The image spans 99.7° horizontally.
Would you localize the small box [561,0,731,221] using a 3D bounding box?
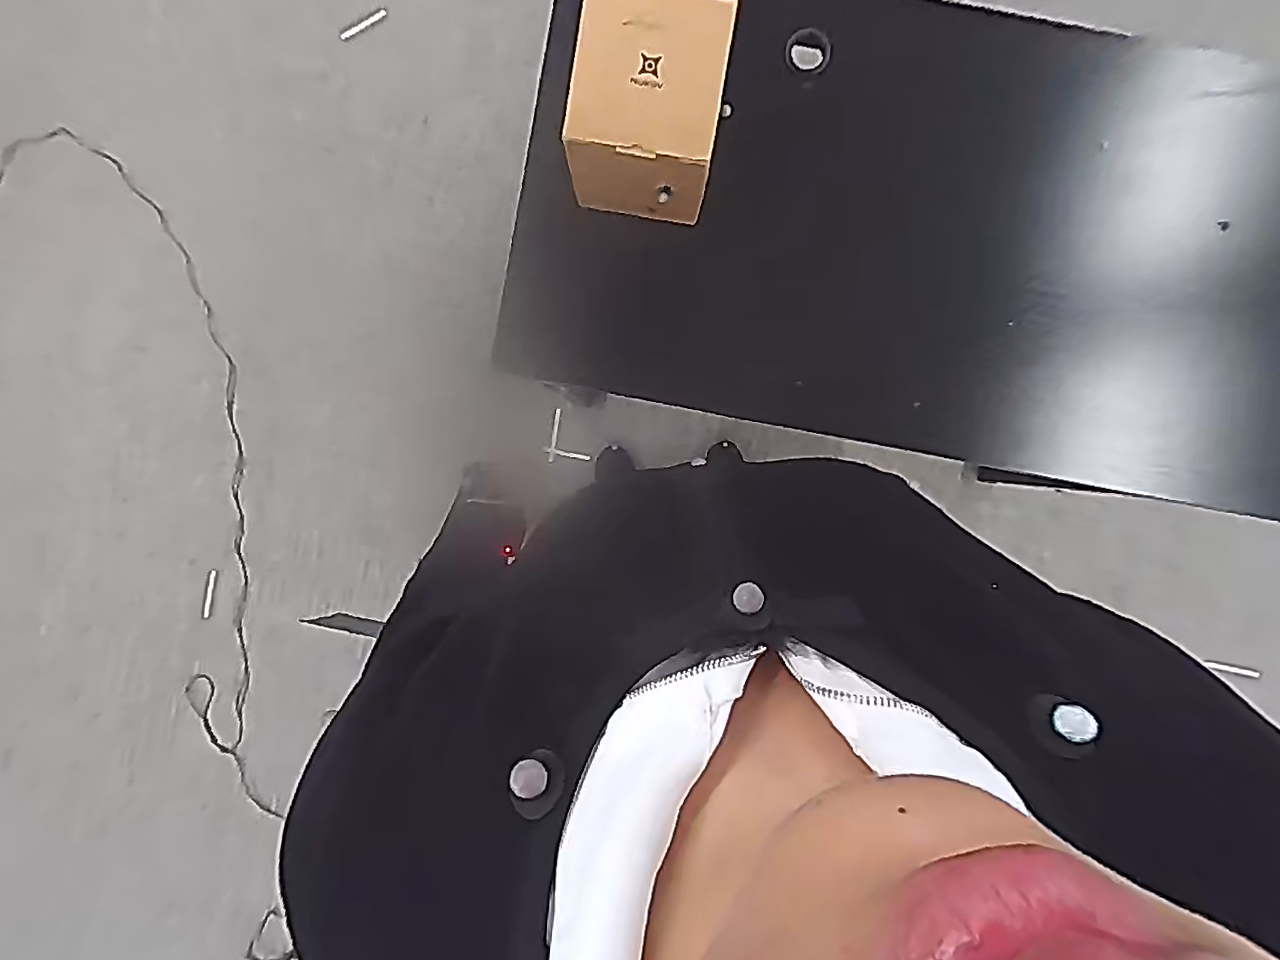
[{"bbox_3d":[0.005,-0.448,0.669,0.168,0.176,0.179,9,93,-2],"label":"small box"}]
